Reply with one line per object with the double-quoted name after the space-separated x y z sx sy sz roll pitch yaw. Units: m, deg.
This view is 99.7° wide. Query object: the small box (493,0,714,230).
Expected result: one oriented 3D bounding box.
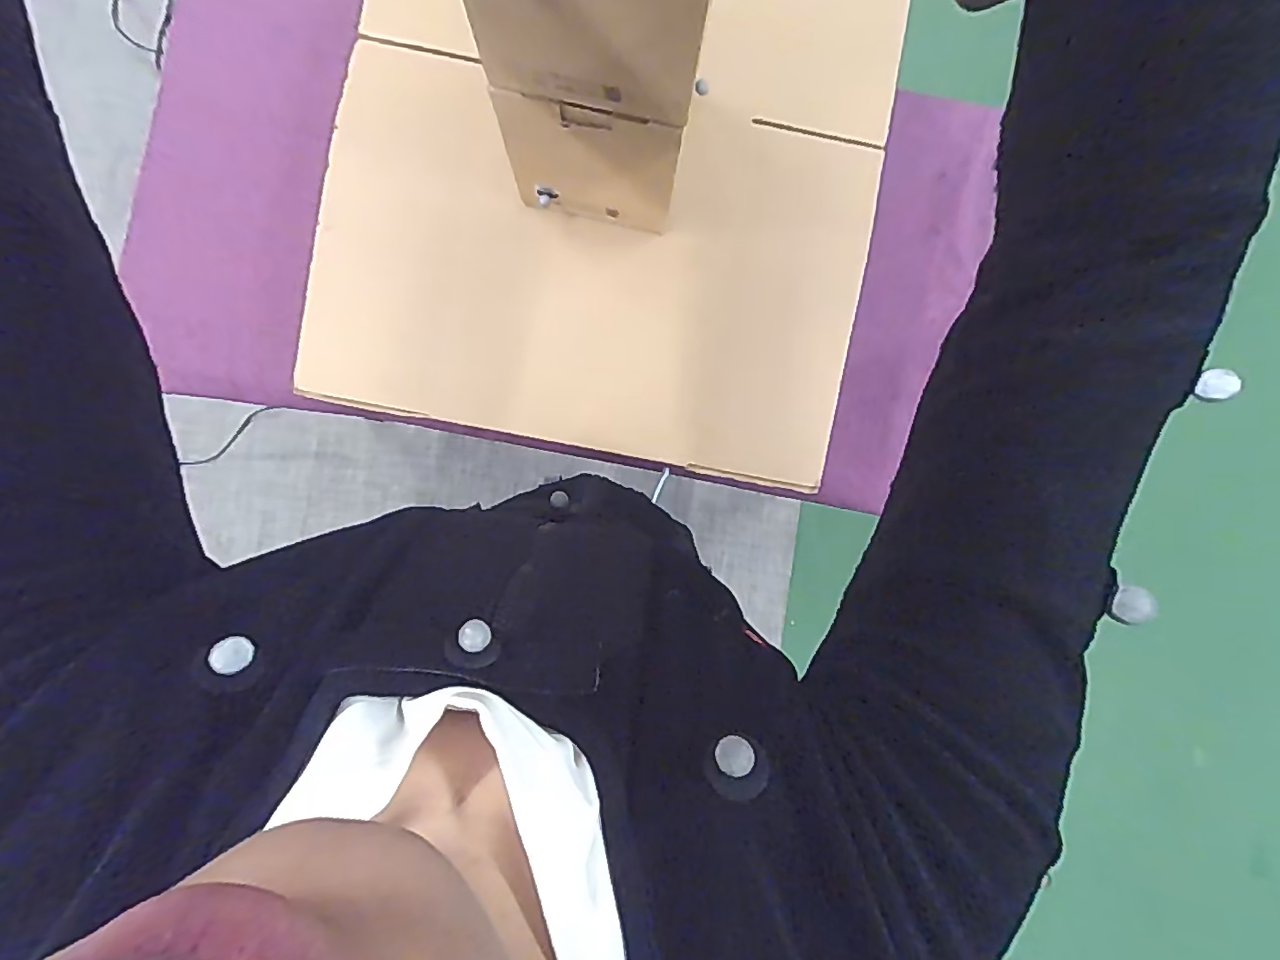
-0.028 -0.377 0.529 0.168 0.176 0.179 12 86 -2 "small box"
